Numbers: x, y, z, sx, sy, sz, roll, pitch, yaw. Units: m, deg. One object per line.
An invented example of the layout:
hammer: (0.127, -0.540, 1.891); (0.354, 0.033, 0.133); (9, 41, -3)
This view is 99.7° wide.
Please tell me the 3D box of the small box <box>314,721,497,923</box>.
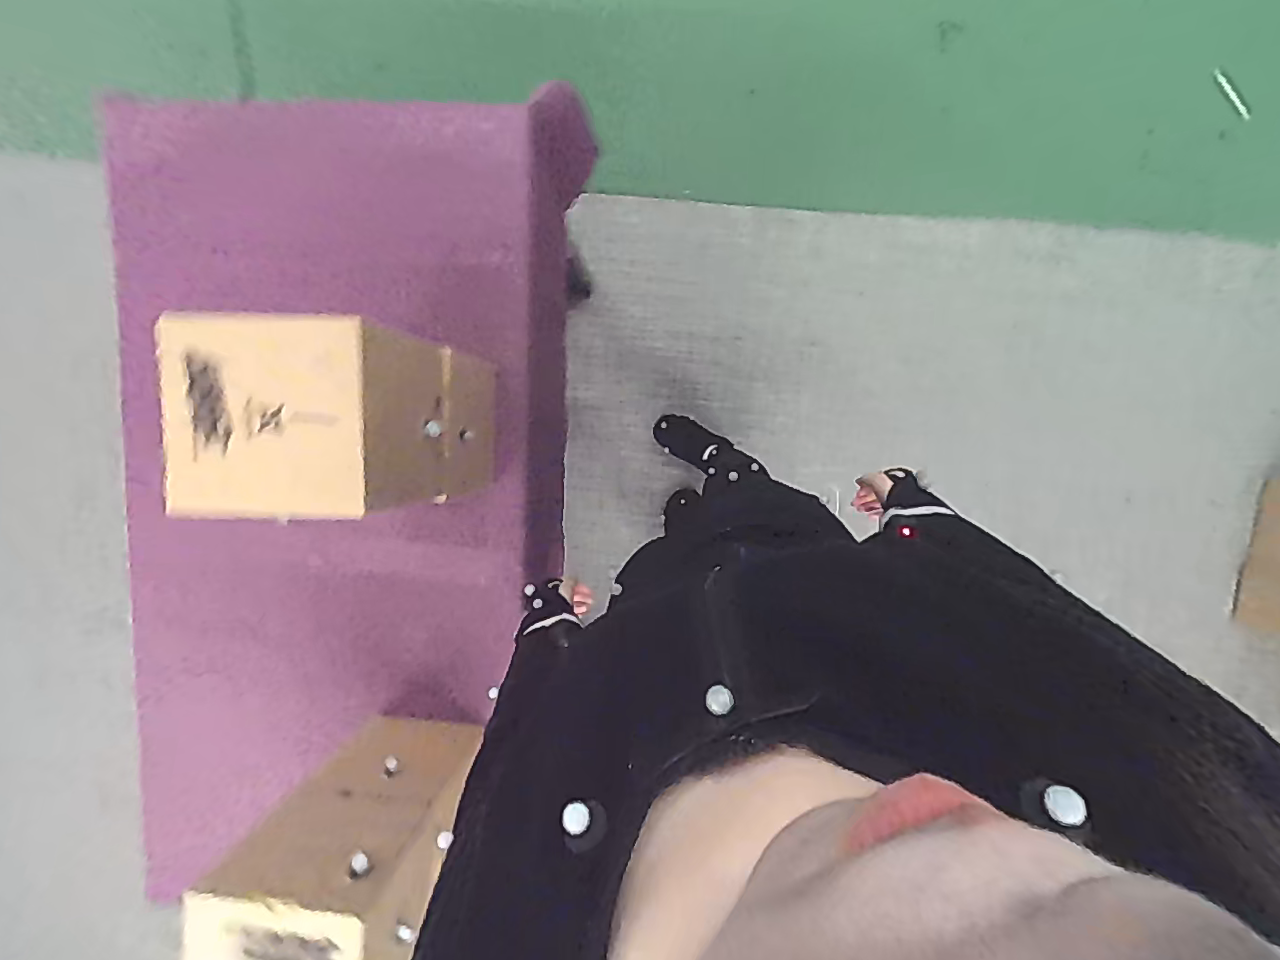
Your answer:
small box: (-0.309, 0.450, 0.738); (0.179, 0.176, 0.168); (2, 95, 2)

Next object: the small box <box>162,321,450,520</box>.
small box: (-0.305, -0.055, 0.528); (0.179, 0.176, 0.168); (0, 95, 2)

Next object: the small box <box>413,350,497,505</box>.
small box: (-0.288, -0.070, 0.691); (0.168, 0.176, 0.179); (3, 95, 2)
